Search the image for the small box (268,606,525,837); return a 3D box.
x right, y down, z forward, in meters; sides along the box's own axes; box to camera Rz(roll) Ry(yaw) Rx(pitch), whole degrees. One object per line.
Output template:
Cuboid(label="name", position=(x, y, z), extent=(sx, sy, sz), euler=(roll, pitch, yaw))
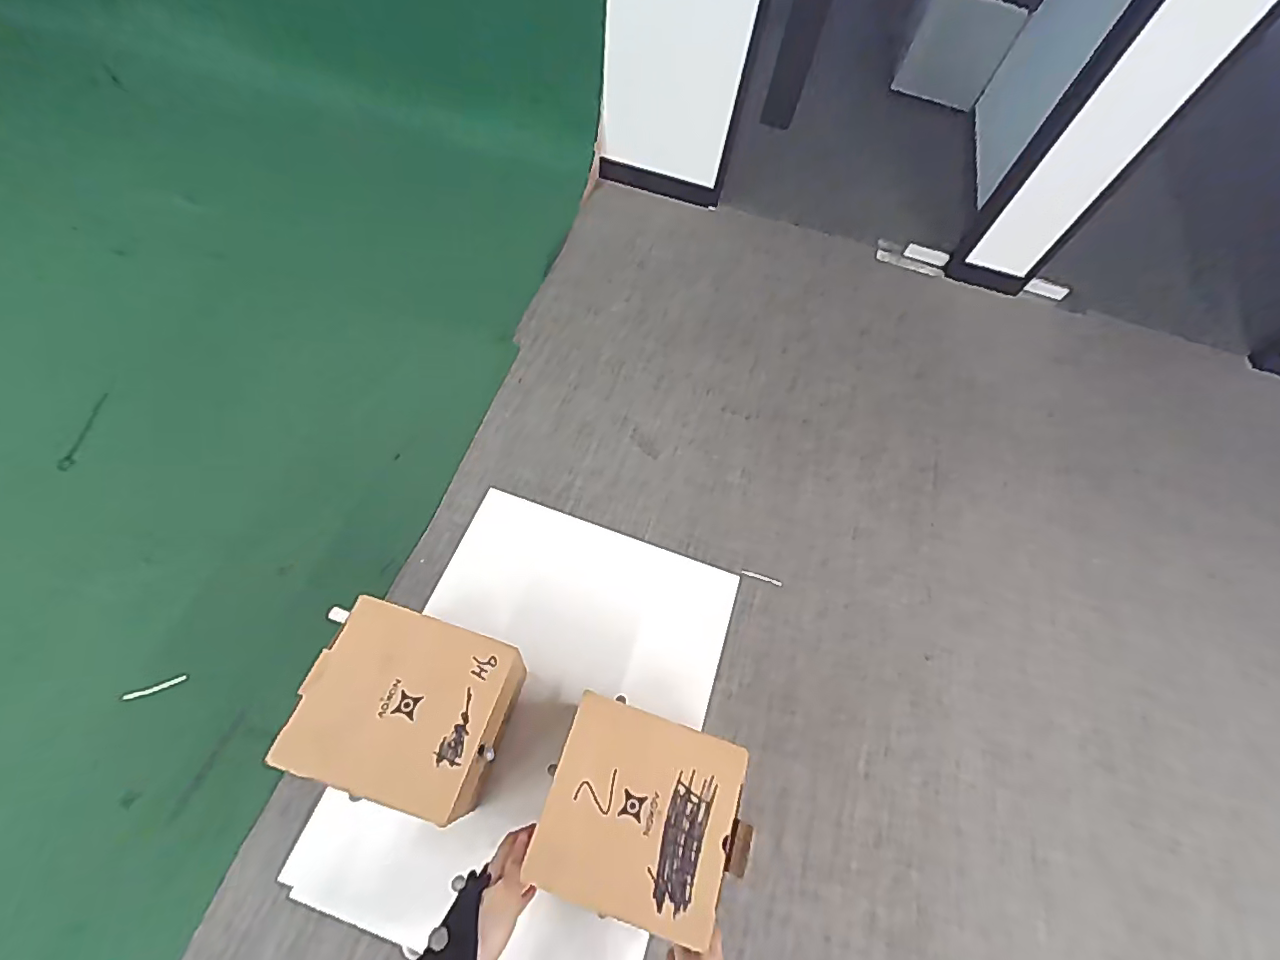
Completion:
Cuboid(label="small box", position=(-0.239, 0.261, 0.587), extent=(0.179, 0.176, 0.168), euler=(19, 61, 2))
